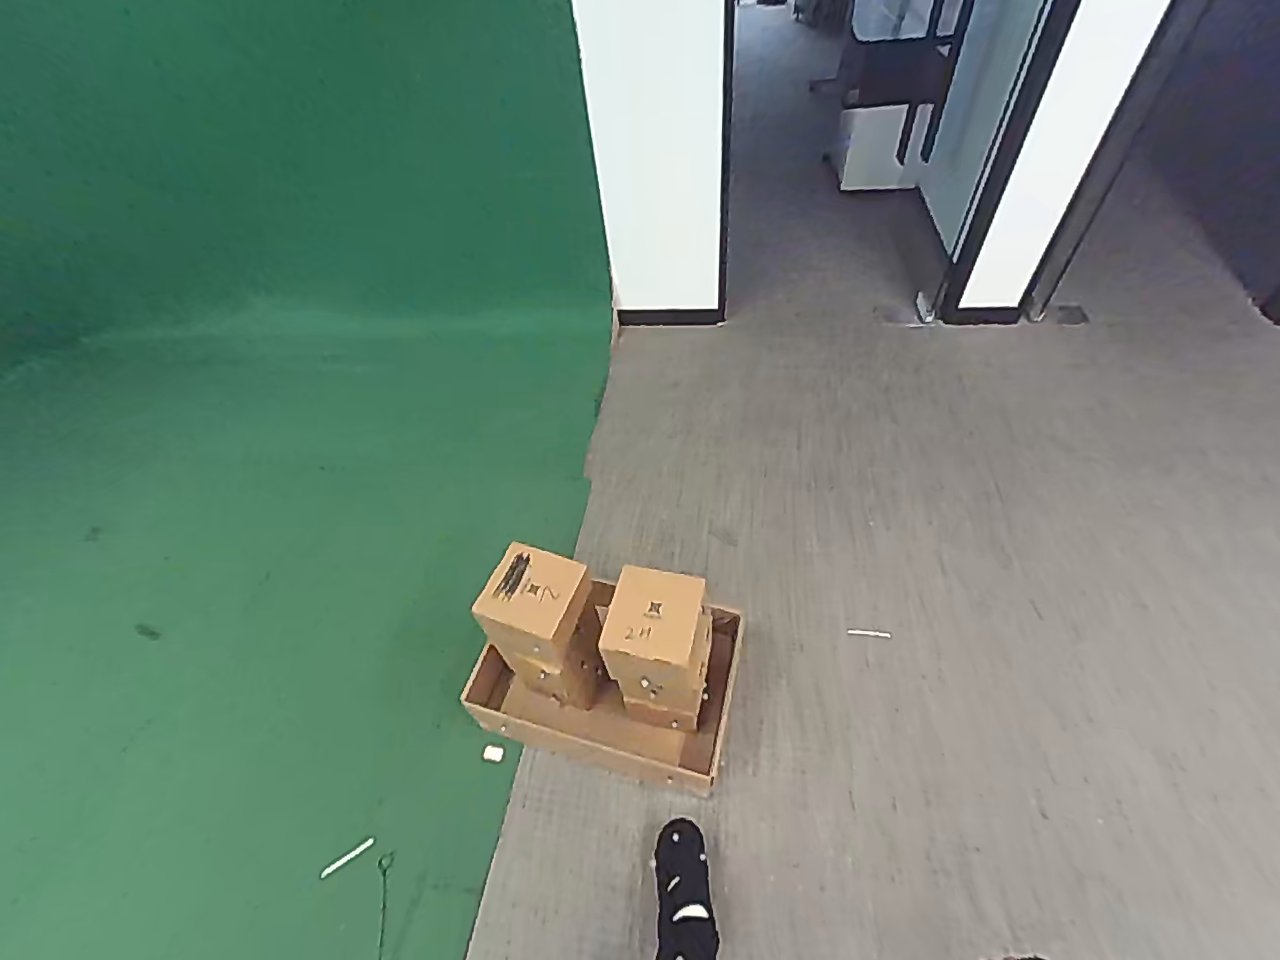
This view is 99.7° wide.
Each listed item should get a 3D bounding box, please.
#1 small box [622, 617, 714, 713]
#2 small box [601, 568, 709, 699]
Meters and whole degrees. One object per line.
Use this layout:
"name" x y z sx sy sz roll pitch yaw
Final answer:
"small box" 0.065 0.396 1.188 0.179 0.176 0.168 7 52 15
"small box" 0.038 0.300 1.056 0.168 0.176 0.179 8 53 15
